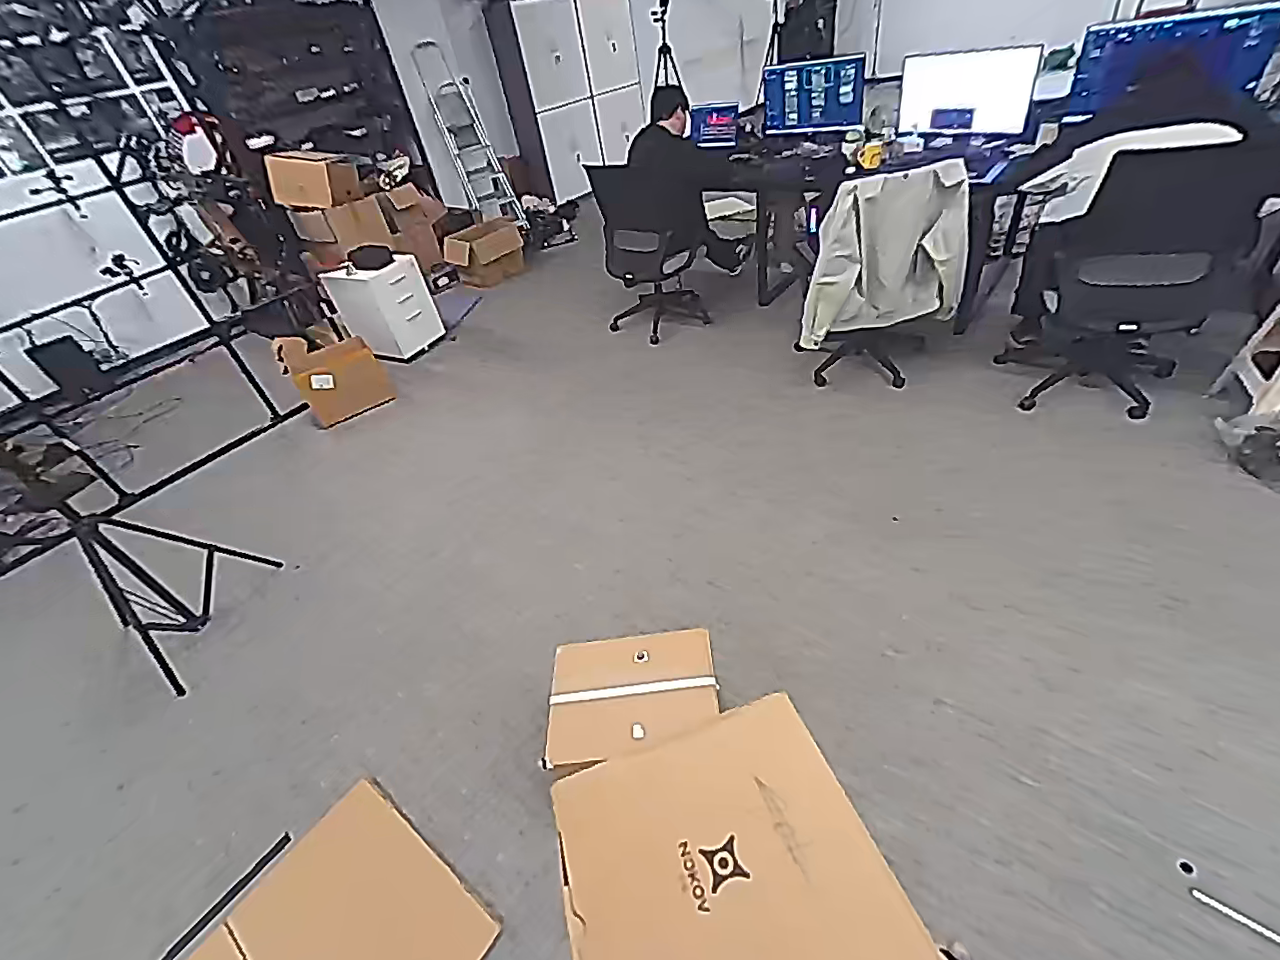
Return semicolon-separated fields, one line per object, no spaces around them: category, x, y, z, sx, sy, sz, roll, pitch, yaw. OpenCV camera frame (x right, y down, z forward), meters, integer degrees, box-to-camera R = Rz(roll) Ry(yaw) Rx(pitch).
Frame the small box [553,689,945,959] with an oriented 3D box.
small box;0.060;0.280;0.356;0.179;0.176;0.168;-18;37;-8
